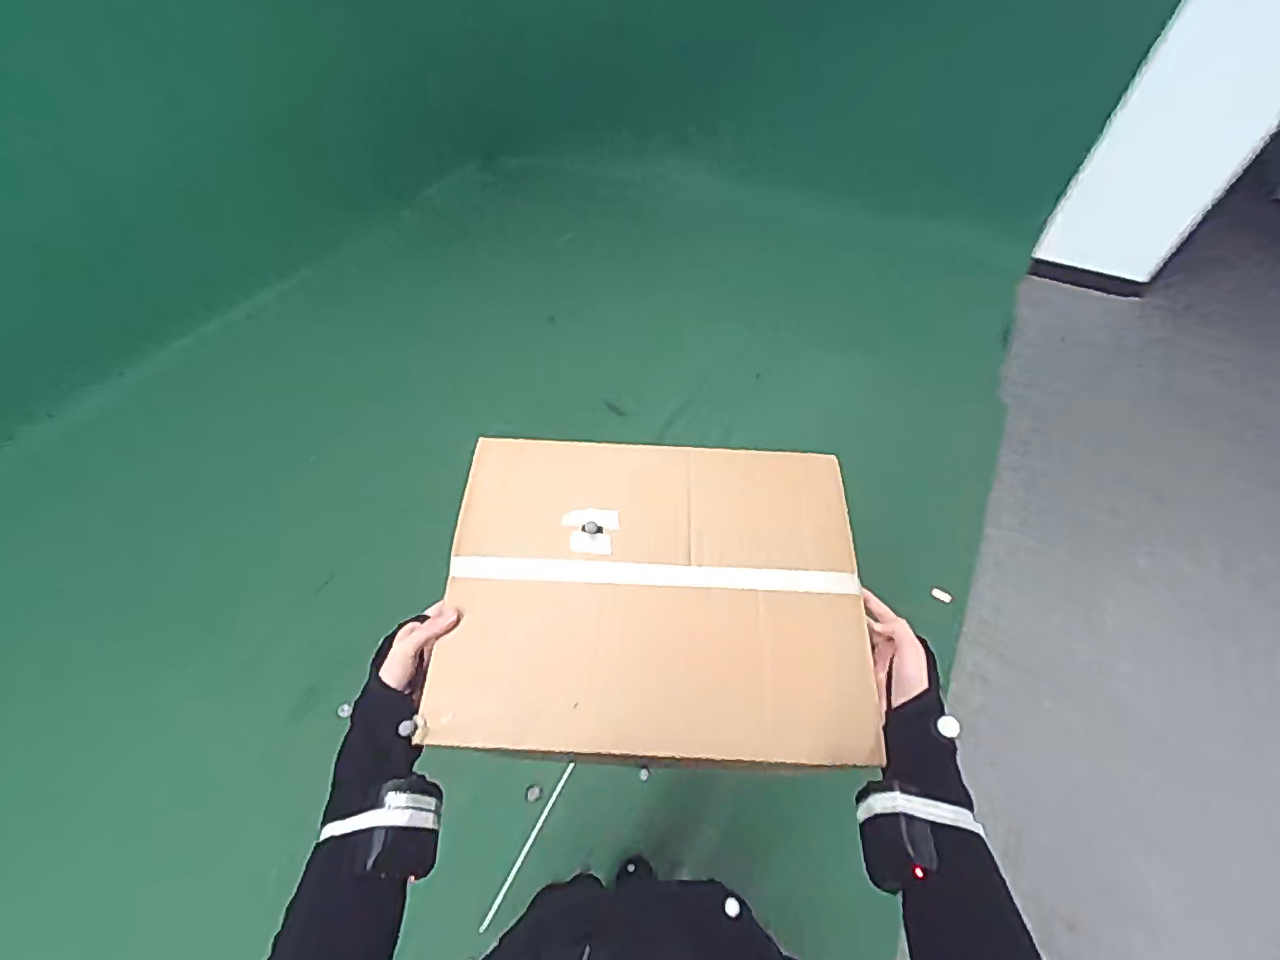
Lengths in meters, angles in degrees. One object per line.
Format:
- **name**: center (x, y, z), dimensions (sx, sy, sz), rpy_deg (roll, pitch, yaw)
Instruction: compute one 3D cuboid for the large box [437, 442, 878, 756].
- **large box**: center (0.022, 0.168, 0.682), dimensions (0.408, 0.320, 0.320), rpy_deg (3, 60, 2)
